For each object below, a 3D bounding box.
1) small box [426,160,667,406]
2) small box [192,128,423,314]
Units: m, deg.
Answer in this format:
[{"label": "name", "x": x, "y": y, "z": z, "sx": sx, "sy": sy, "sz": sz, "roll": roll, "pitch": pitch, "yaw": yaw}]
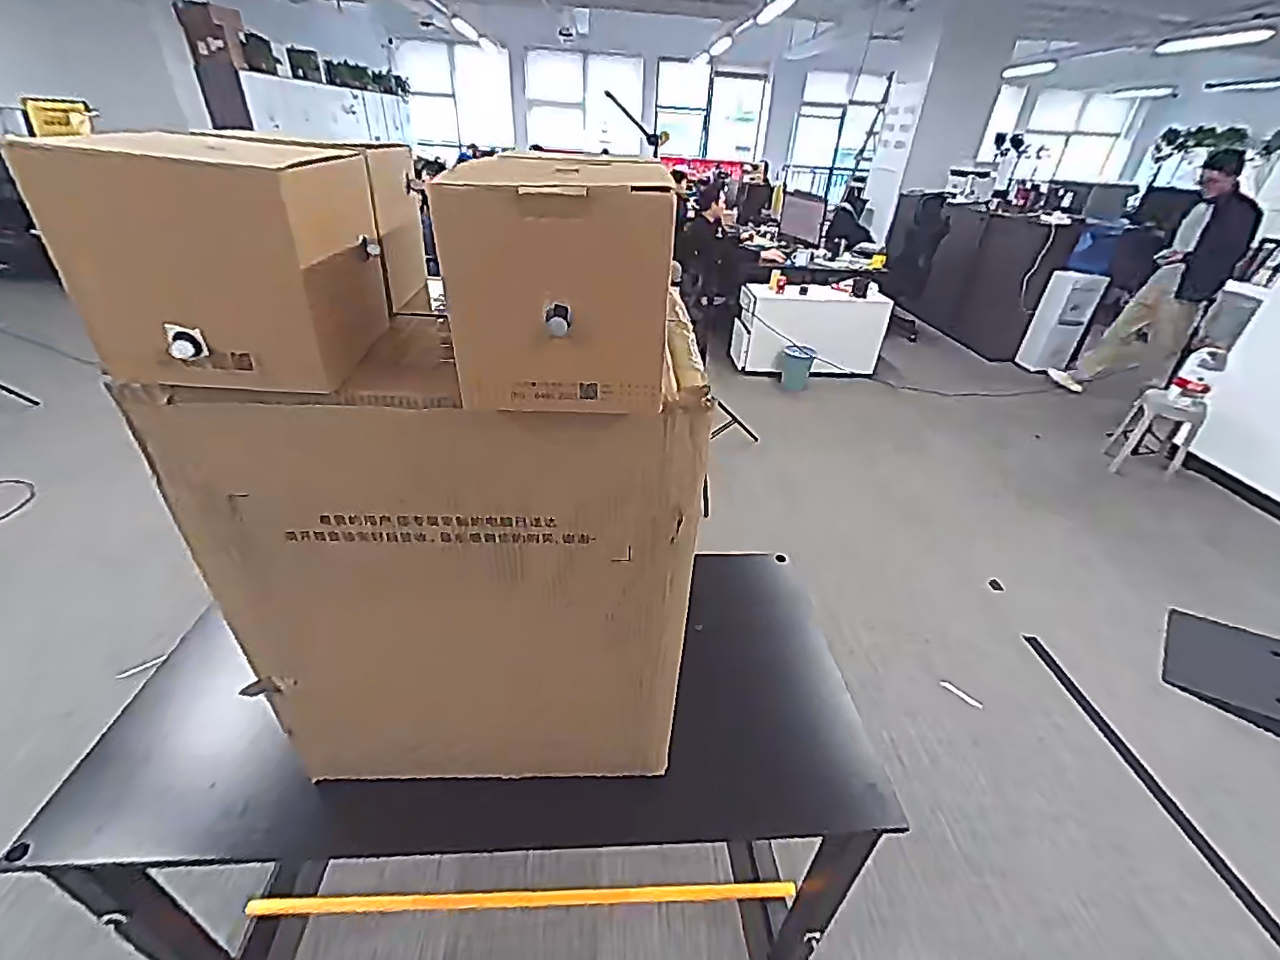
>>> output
[{"label": "small box", "x": -0.064, "y": -0.173, "z": 0.470, "sx": 0.168, "sy": 0.176, "sz": 0.179, "roll": 1, "pitch": 34, "yaw": -2}, {"label": "small box", "x": -0.366, "y": -0.305, "z": 0.640, "sx": 0.168, "sy": 0.176, "sz": 0.179, "roll": 0, "pitch": 31, "yaw": -6}]
